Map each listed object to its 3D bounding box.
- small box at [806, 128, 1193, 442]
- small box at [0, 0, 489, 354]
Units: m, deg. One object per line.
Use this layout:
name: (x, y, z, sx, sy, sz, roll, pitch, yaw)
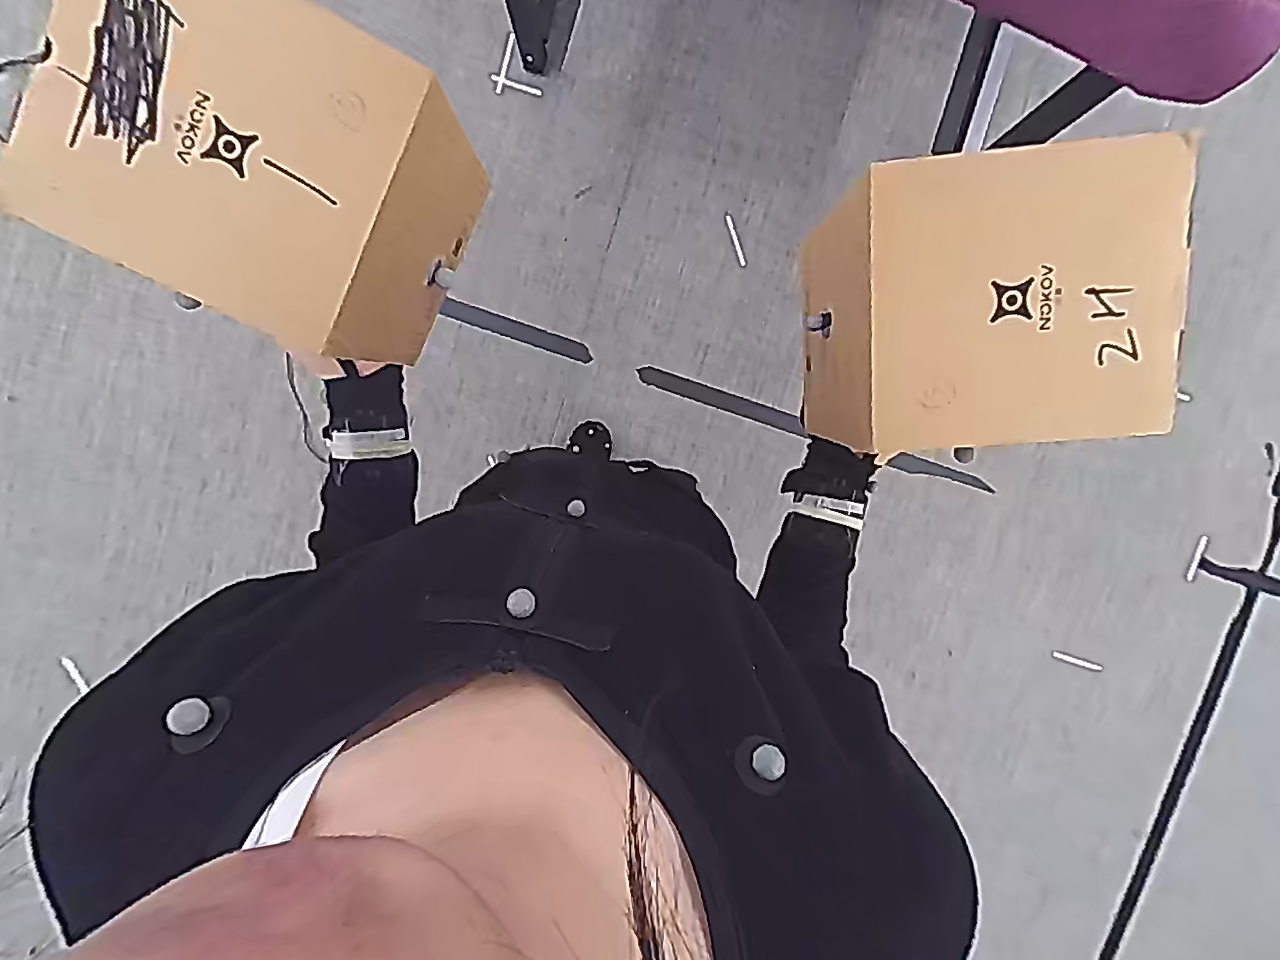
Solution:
small box: (0.223, -0.119, 0.390, 0.179, 0.176, 0.168, -4, 100, 3)
small box: (-0.223, -0.193, 0.359, 0.179, 0.176, 0.168, 25, 97, -10)
